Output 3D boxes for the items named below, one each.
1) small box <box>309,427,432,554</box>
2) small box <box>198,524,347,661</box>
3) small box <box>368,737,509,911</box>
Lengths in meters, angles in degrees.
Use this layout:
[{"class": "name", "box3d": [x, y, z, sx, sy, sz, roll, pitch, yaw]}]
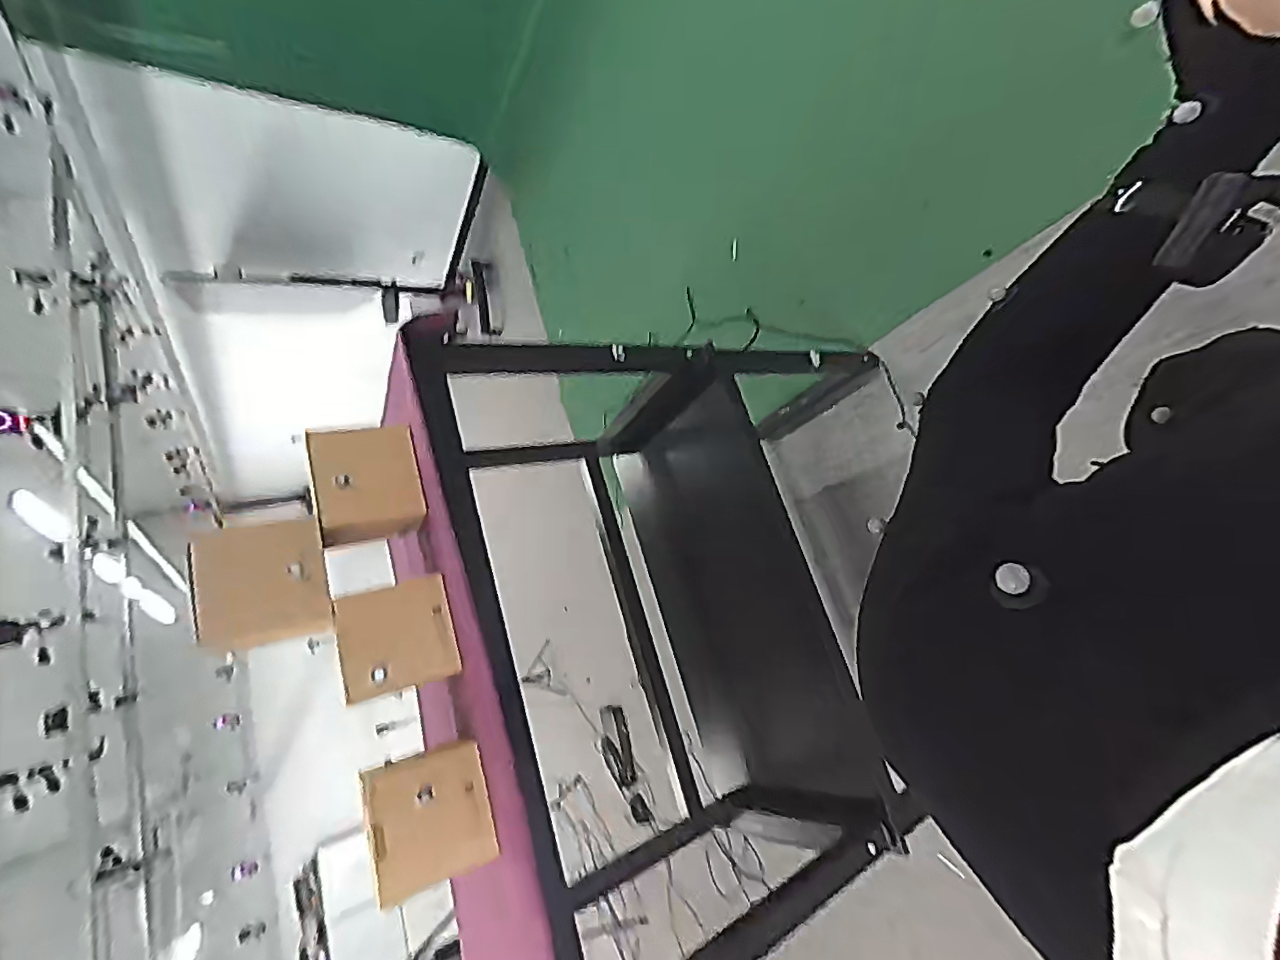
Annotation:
[{"class": "small box", "box3d": [-0.492, 0.017, 0.991, 0.168, 0.176, 0.179, -38, 66, 54]}, {"class": "small box", "box3d": [-0.581, 0.176, 0.867, 0.168, 0.176, 0.179, -36, 67, 55]}, {"class": "small box", "box3d": [-0.318, 0.523, 0.854, 0.179, 0.176, 0.168, -37, 66, 54]}]
